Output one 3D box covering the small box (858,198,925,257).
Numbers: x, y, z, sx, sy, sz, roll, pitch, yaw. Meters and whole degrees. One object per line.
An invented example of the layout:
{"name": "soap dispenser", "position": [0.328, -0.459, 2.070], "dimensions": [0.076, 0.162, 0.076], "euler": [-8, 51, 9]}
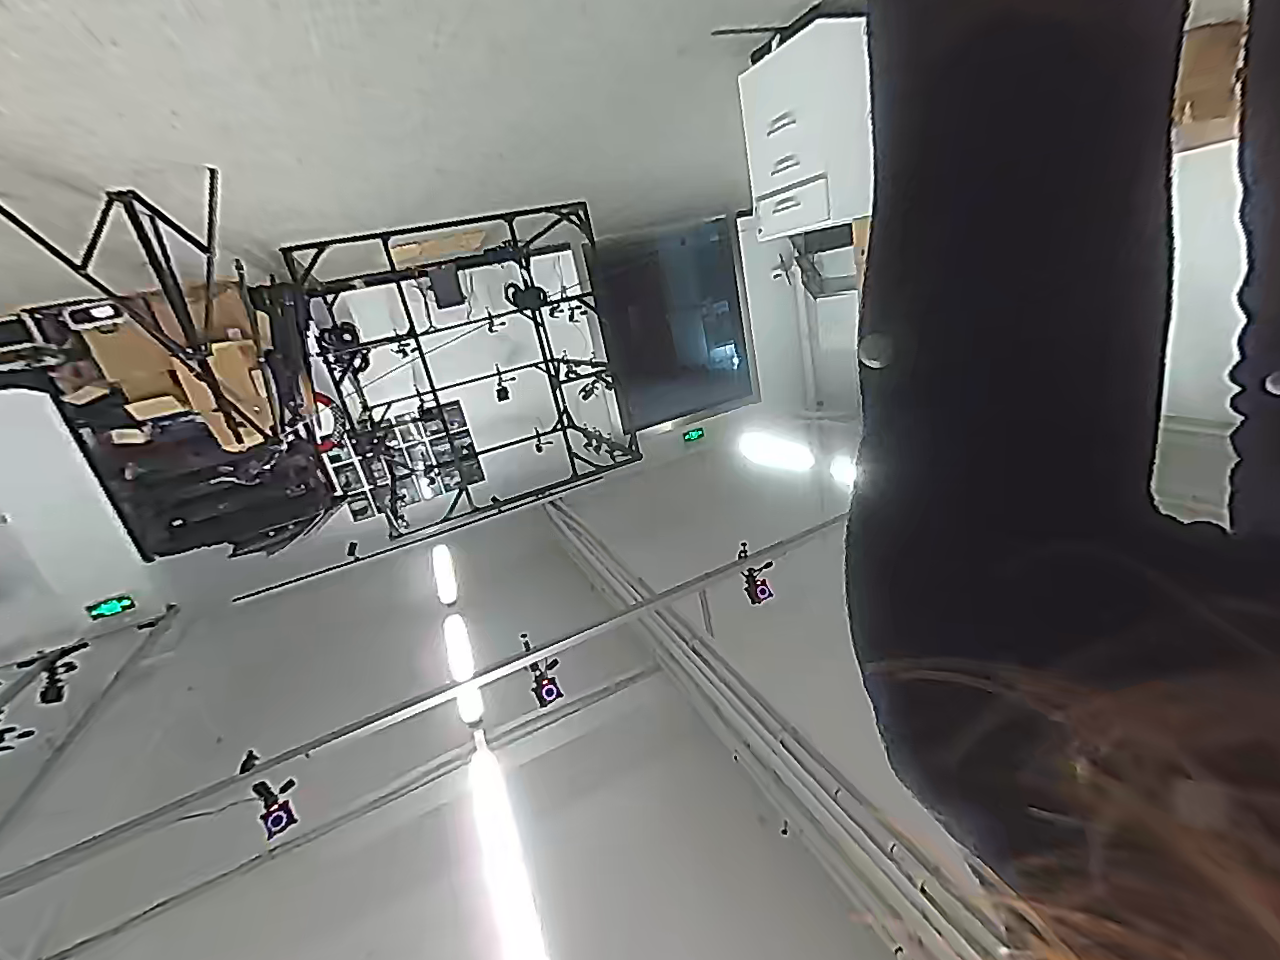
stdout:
{"name": "small box", "position": [0.946, -0.952, 2.038], "dimensions": [0.168, 0.176, 0.179], "euler": [-20, -158, -19]}
